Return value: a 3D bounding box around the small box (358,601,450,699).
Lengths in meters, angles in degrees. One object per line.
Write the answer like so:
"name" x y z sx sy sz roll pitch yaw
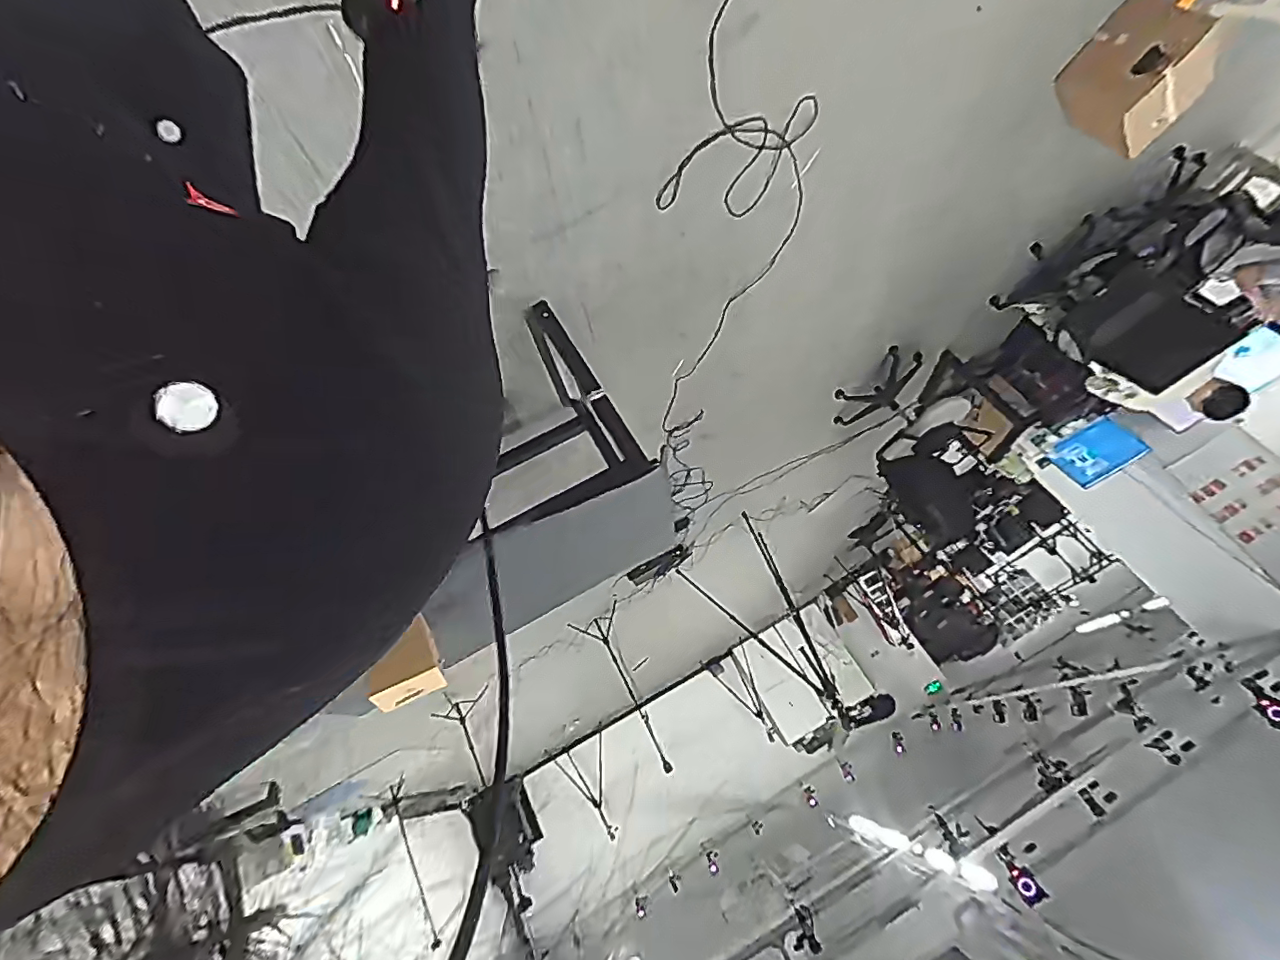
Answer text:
"small box" -0.614 0.443 1.415 0.168 0.176 0.179 -21 152 -21
